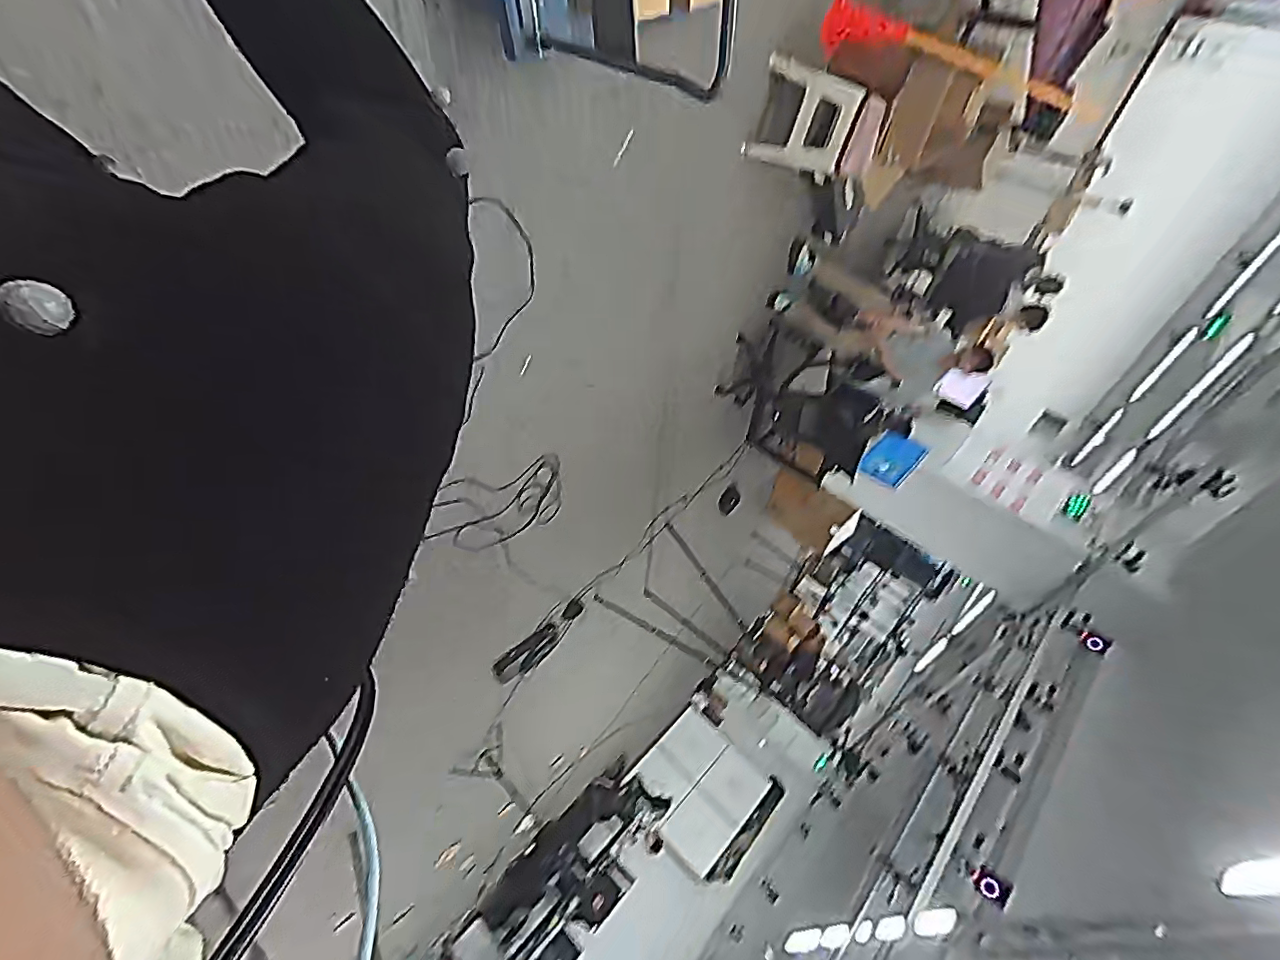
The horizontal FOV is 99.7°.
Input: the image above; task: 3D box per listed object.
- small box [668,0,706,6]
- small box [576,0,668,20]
[{"bbox_3d":[0.130,-1.409,1.451,0.179,0.176,0.168,-39,149,-23],"label":"small box"},{"bbox_3d":[-0.046,-1.272,1.340,0.179,0.176,0.168,-37,149,-26],"label":"small box"}]
